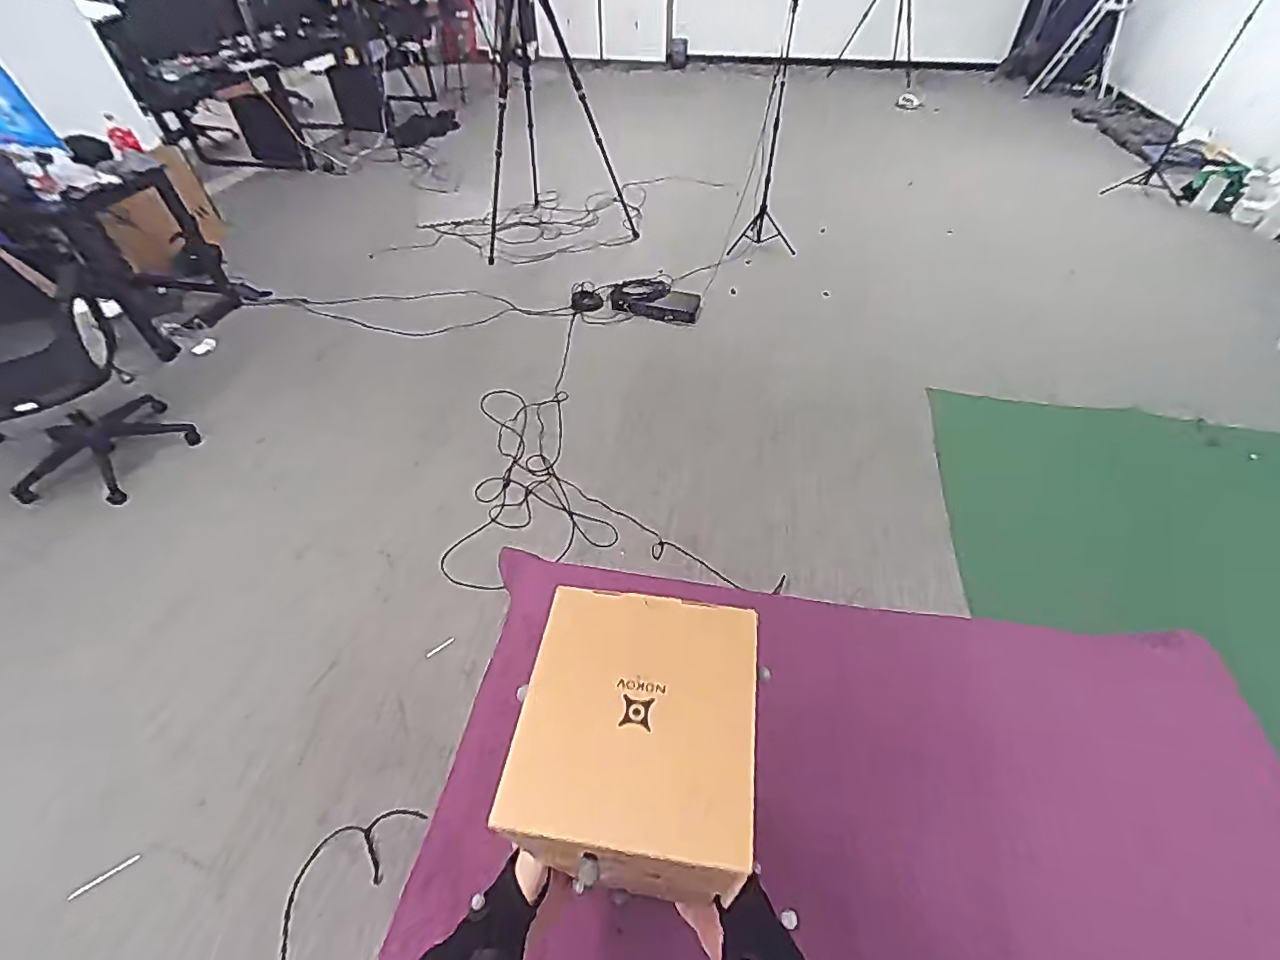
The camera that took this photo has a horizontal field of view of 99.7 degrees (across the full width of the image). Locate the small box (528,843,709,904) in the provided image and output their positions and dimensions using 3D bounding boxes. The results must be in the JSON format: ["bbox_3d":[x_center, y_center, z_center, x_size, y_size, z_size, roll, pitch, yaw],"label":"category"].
[{"bbox_3d":[0.001,0.311,0.560,0.168,0.176,0.179,7,47,8],"label":"small box"}]

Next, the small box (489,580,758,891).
[{"bbox_3d":[0.001,0.207,0.437,0.168,0.176,0.179,6,47,7],"label":"small box"}]
